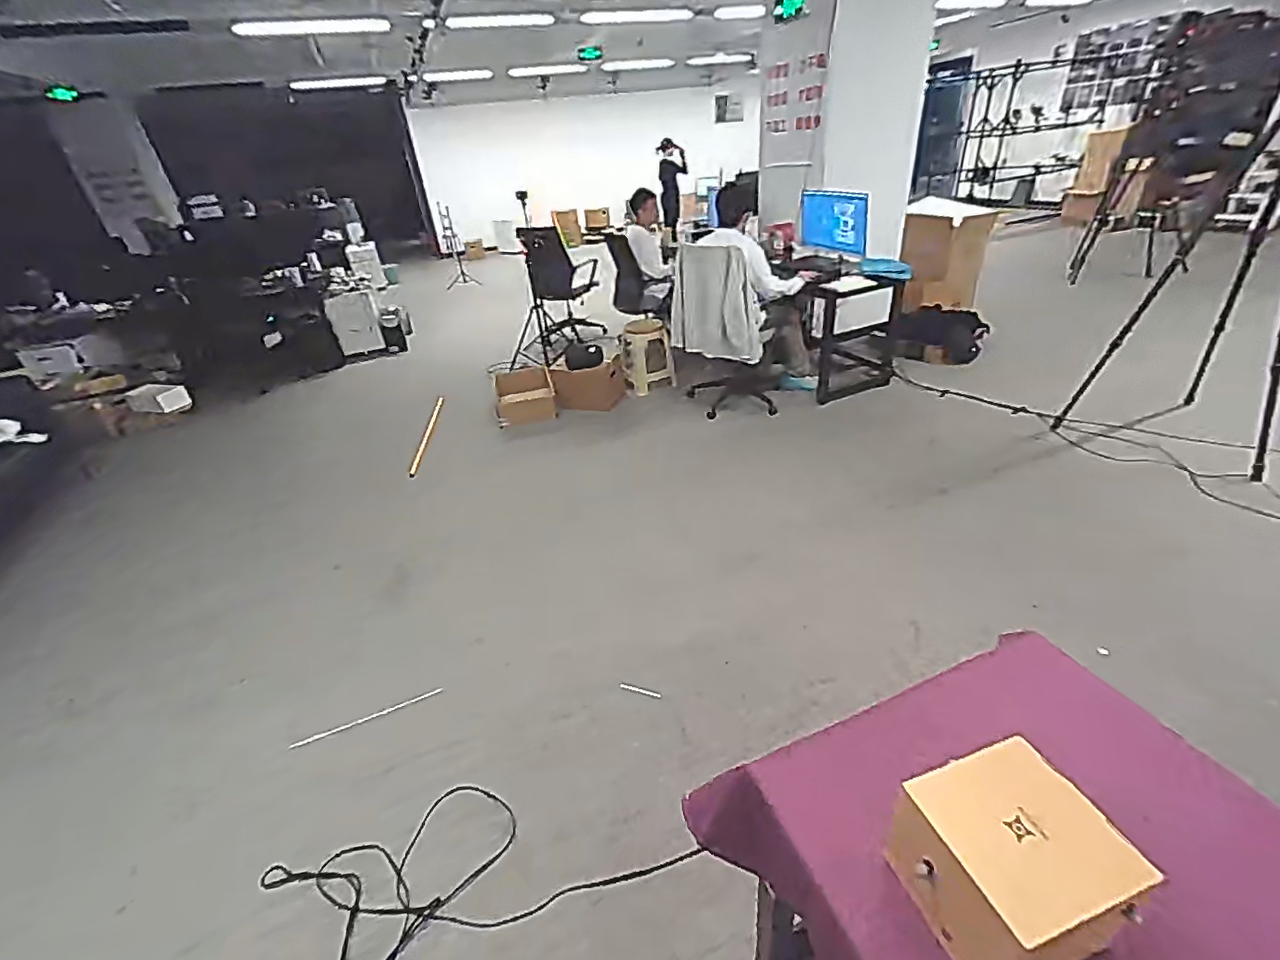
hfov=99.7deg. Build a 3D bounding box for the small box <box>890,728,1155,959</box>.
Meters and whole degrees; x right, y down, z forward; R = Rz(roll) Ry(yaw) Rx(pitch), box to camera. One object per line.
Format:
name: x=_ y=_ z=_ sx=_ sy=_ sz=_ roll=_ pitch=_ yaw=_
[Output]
small box: x=0.414 y=0.431 z=0.623 sx=0.179 sy=0.176 sz=0.168 roll=-14 pitch=32 yaw=-13
